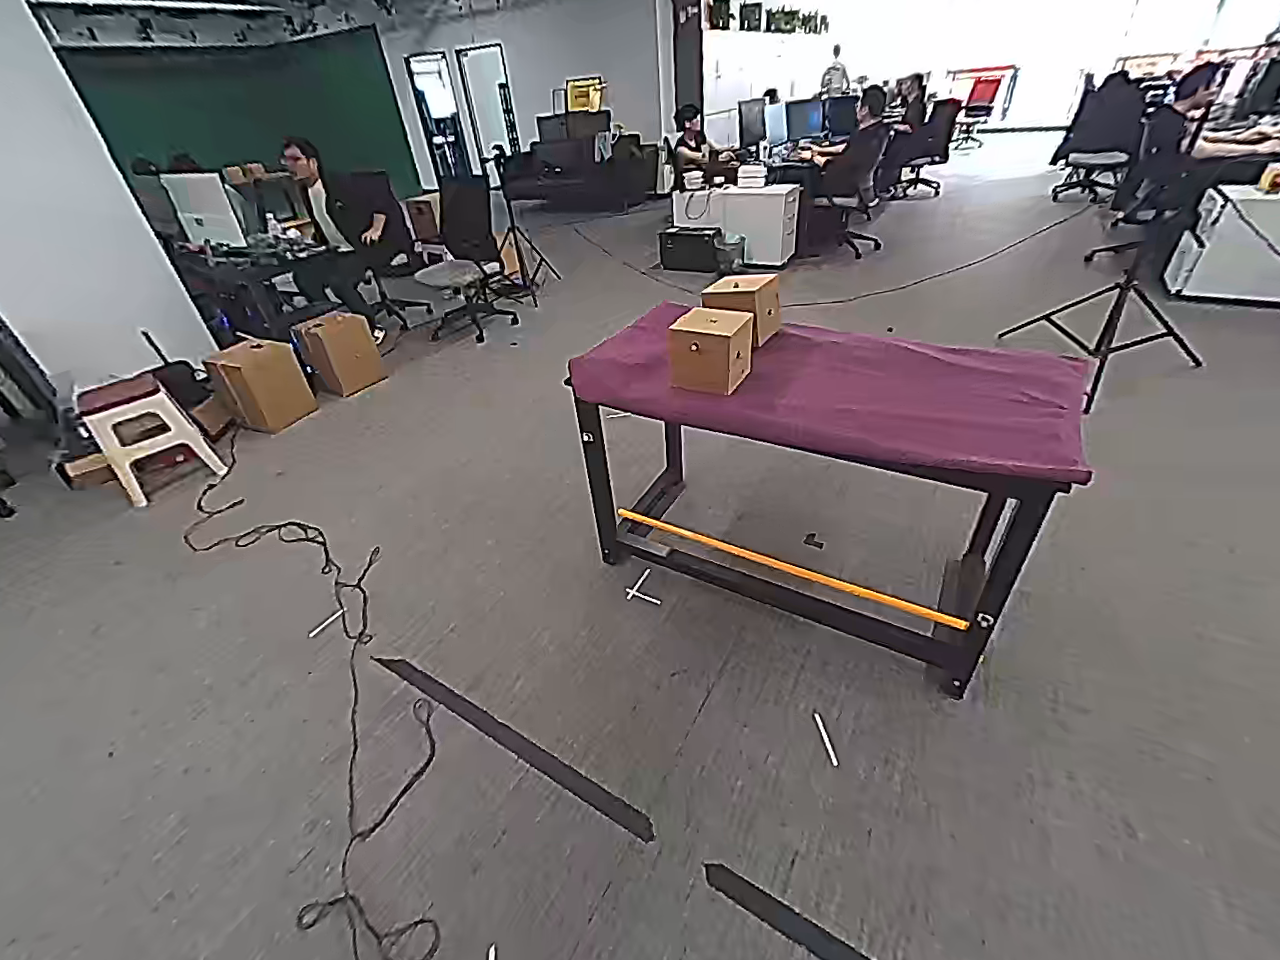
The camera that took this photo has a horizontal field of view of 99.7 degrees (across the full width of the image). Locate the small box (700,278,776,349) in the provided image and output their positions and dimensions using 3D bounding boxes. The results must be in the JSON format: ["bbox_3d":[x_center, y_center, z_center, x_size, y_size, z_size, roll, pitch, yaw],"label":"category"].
[{"bbox_3d":[0.304,-0.506,1.636,0.179,0.168,0.176,12,38,34],"label":"small box"}]

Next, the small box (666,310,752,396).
[{"bbox_3d":[0.188,-0.340,1.449,0.179,0.176,0.168,14,41,26],"label":"small box"}]
